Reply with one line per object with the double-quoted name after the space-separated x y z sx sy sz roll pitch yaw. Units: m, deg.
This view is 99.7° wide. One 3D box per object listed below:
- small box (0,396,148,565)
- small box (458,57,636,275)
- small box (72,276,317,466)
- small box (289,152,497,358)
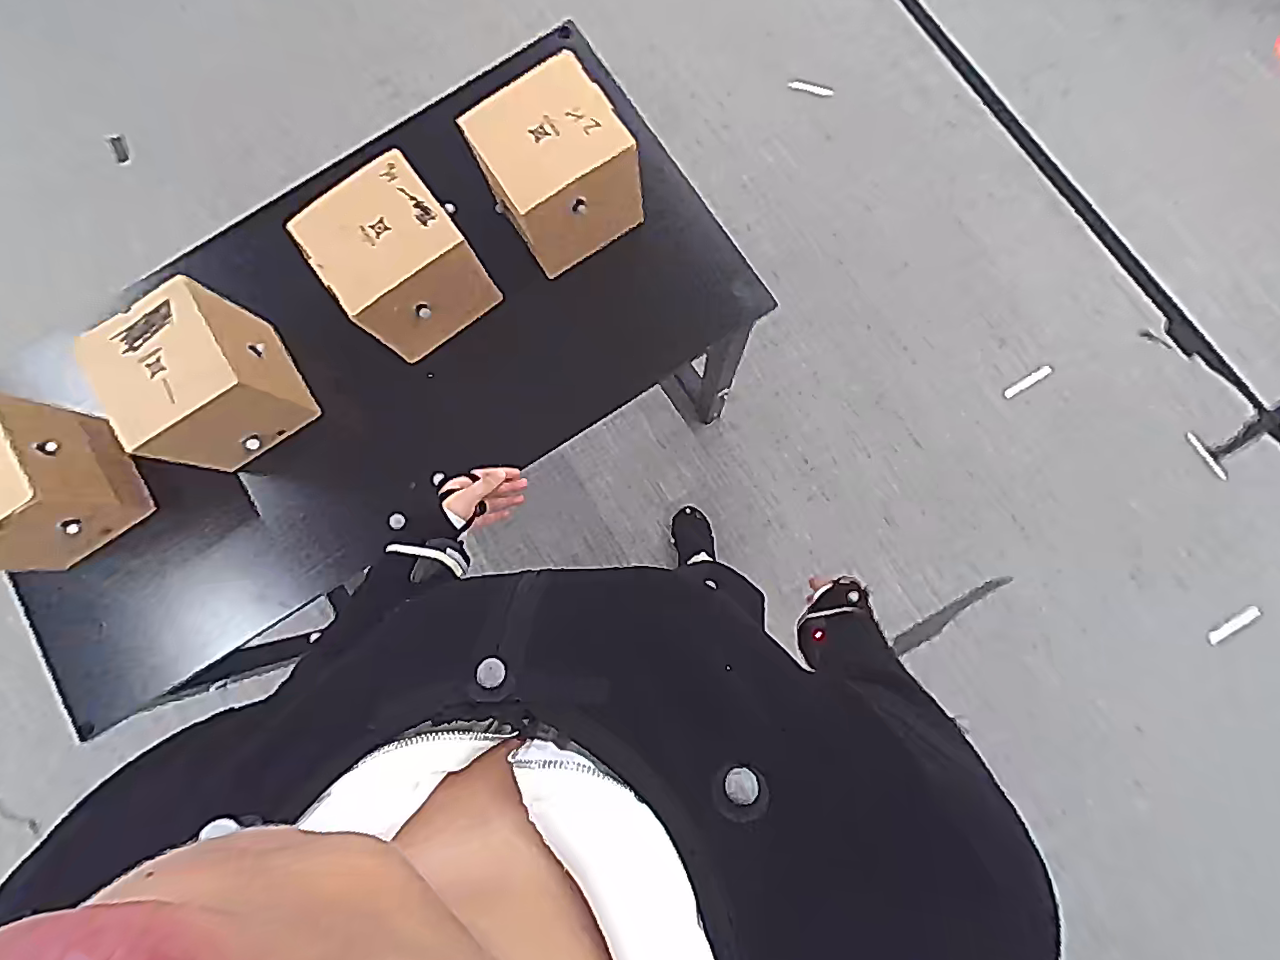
-0.855 0.006 0.753 0.168 0.176 0.179 -34 82 -3 "small box"
-0.120 -0.433 0.776 0.179 0.176 0.168 -32 82 -1 "small box"
-0.608 -0.140 0.760 0.168 0.176 0.179 -33 83 -2 "small box"
-0.336 -0.304 0.771 0.179 0.176 0.168 -37 83 -2 "small box"
